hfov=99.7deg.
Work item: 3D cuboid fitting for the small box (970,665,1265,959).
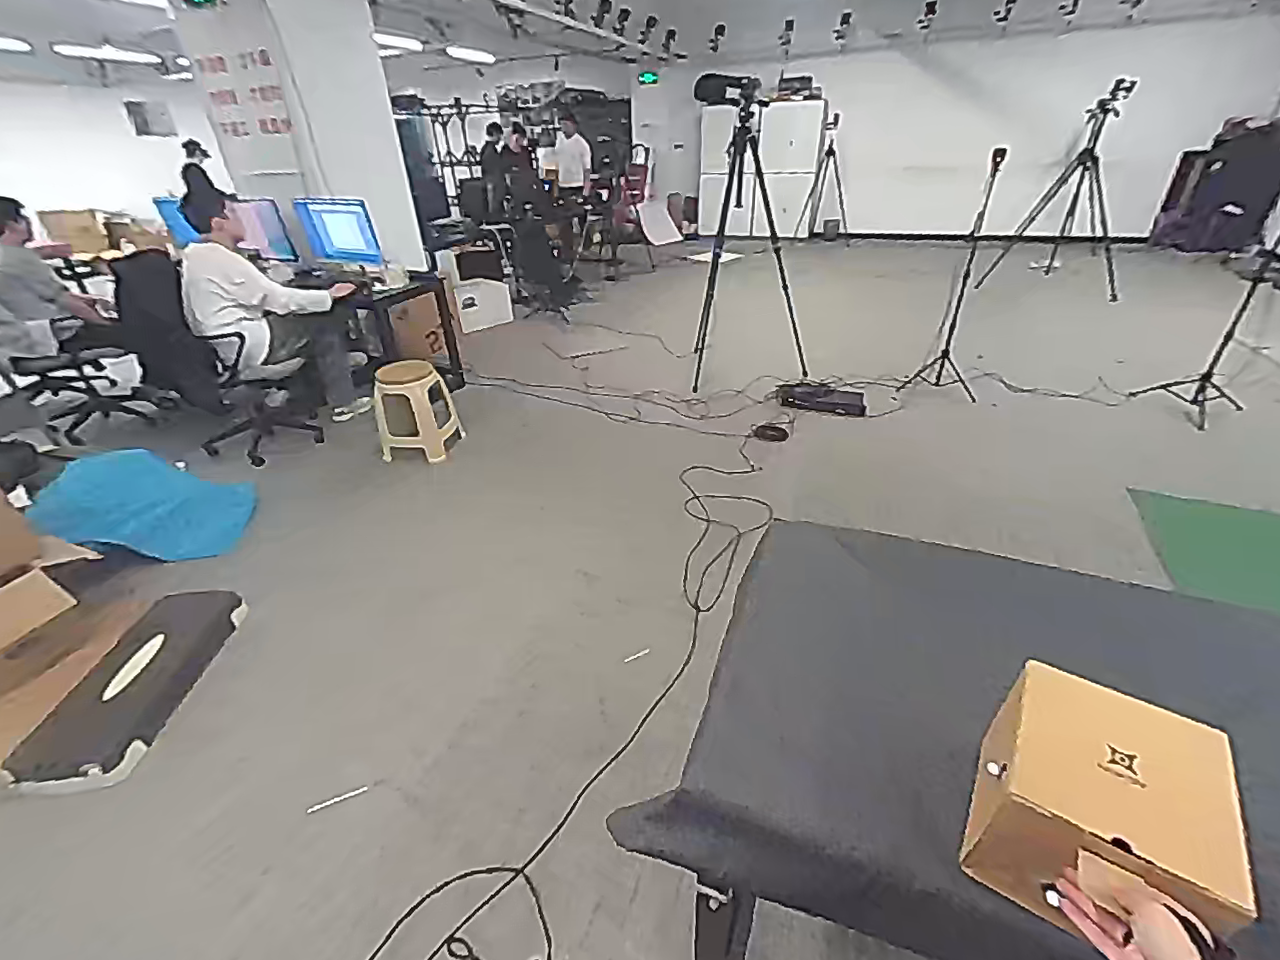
[{"bbox_3d":[0.462,0.336,0.551,0.168,0.176,0.179,20,42,30],"label":"small box"}]
